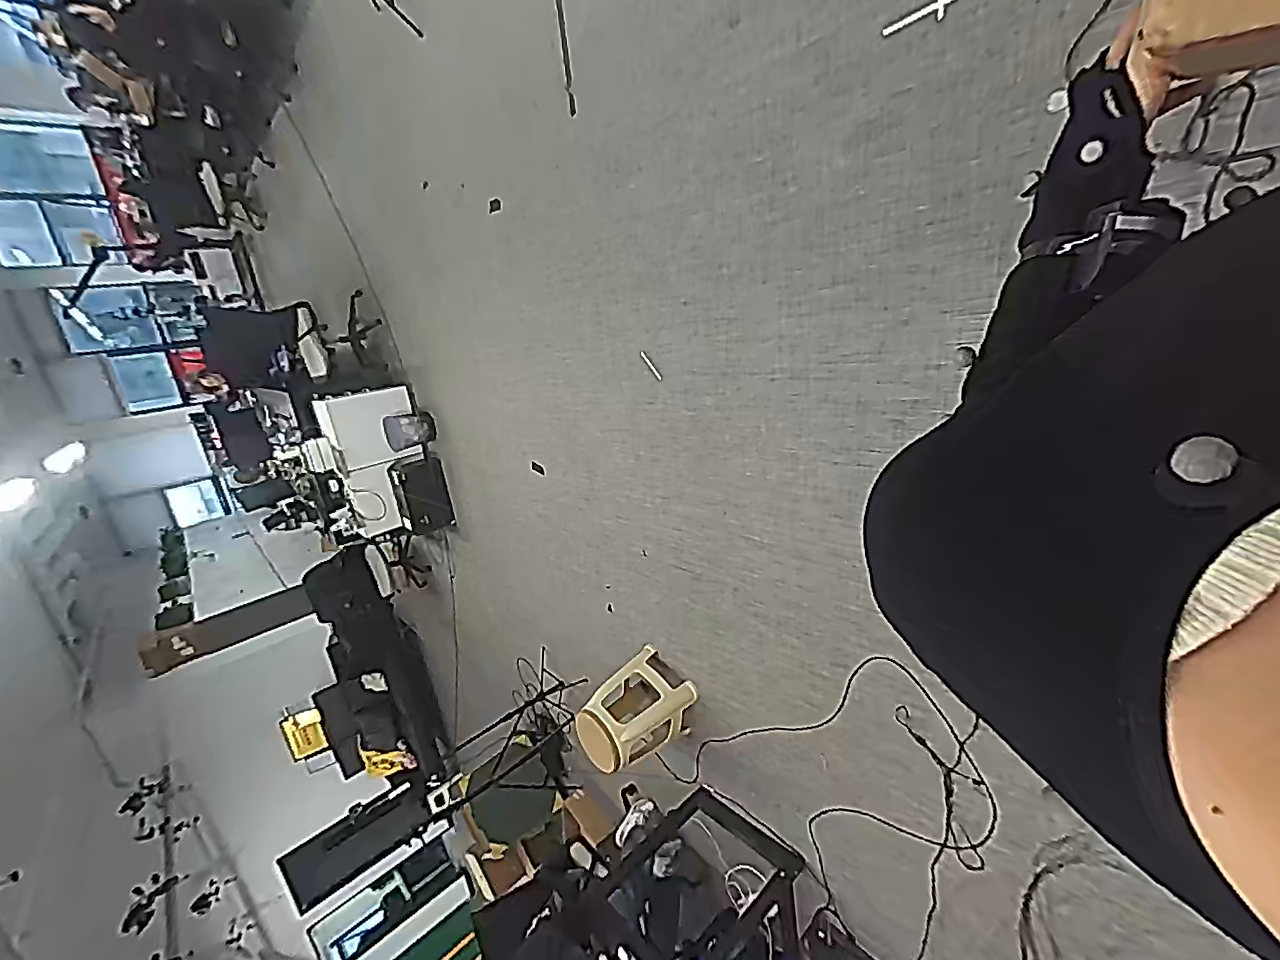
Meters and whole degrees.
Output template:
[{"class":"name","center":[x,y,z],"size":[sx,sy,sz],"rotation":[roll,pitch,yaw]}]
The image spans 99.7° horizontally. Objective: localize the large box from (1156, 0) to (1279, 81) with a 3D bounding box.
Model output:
[{"class":"large box","center":[0.426,-0.329,0.119],"size":[0.408,0.320,0.320],"rotation":[16,126,39]}]
